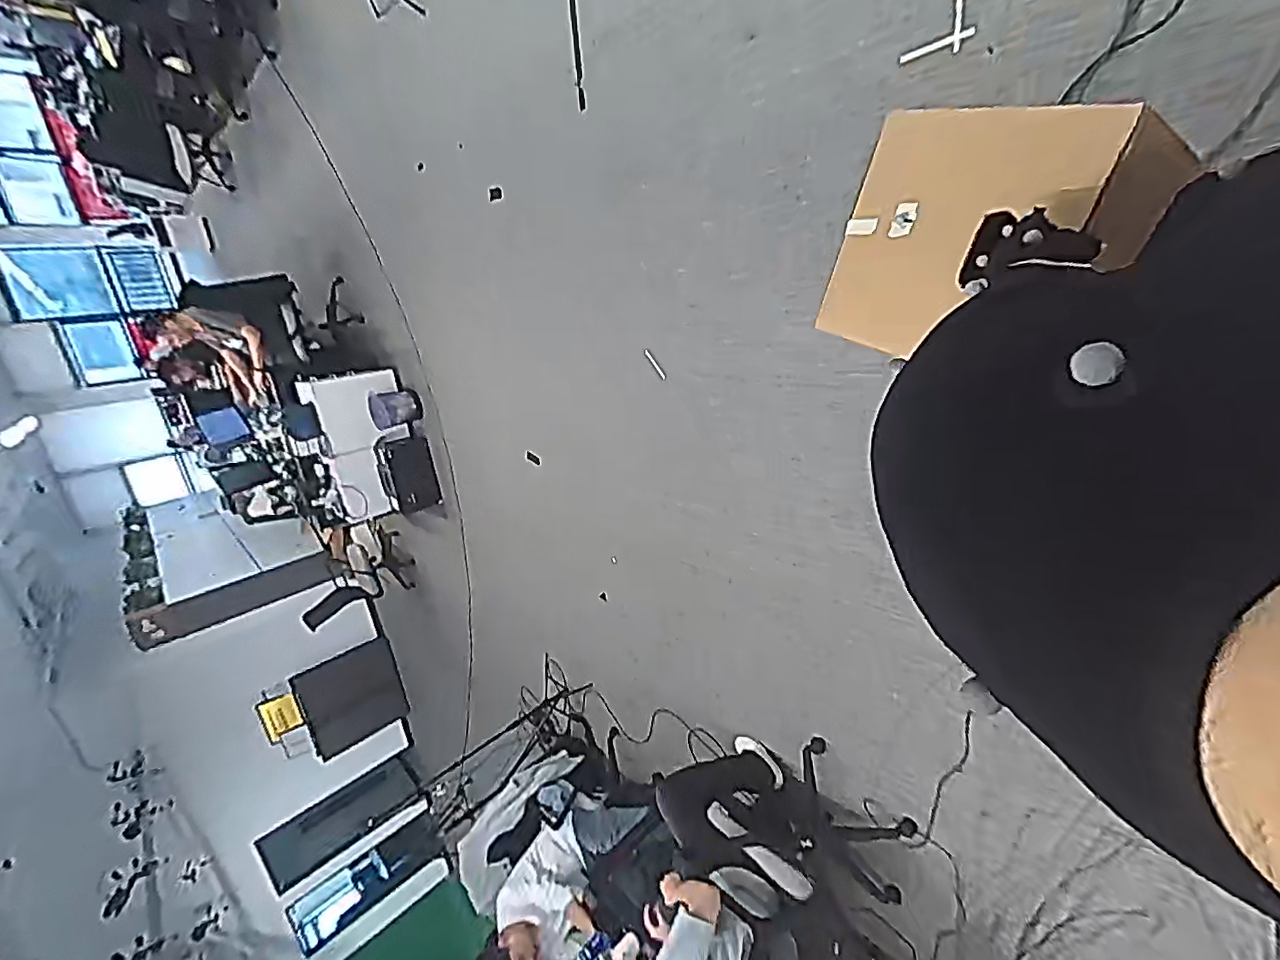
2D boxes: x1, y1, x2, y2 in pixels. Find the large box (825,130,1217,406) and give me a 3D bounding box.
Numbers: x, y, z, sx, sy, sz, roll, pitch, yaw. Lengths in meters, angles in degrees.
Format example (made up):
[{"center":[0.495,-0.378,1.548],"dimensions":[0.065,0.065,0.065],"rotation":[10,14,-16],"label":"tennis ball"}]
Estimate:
[{"center":[0.568,-0.315,0.842],"dimensions":[0.320,0.408,0.320],"rotation":[40,126,45],"label":"large box"}]
